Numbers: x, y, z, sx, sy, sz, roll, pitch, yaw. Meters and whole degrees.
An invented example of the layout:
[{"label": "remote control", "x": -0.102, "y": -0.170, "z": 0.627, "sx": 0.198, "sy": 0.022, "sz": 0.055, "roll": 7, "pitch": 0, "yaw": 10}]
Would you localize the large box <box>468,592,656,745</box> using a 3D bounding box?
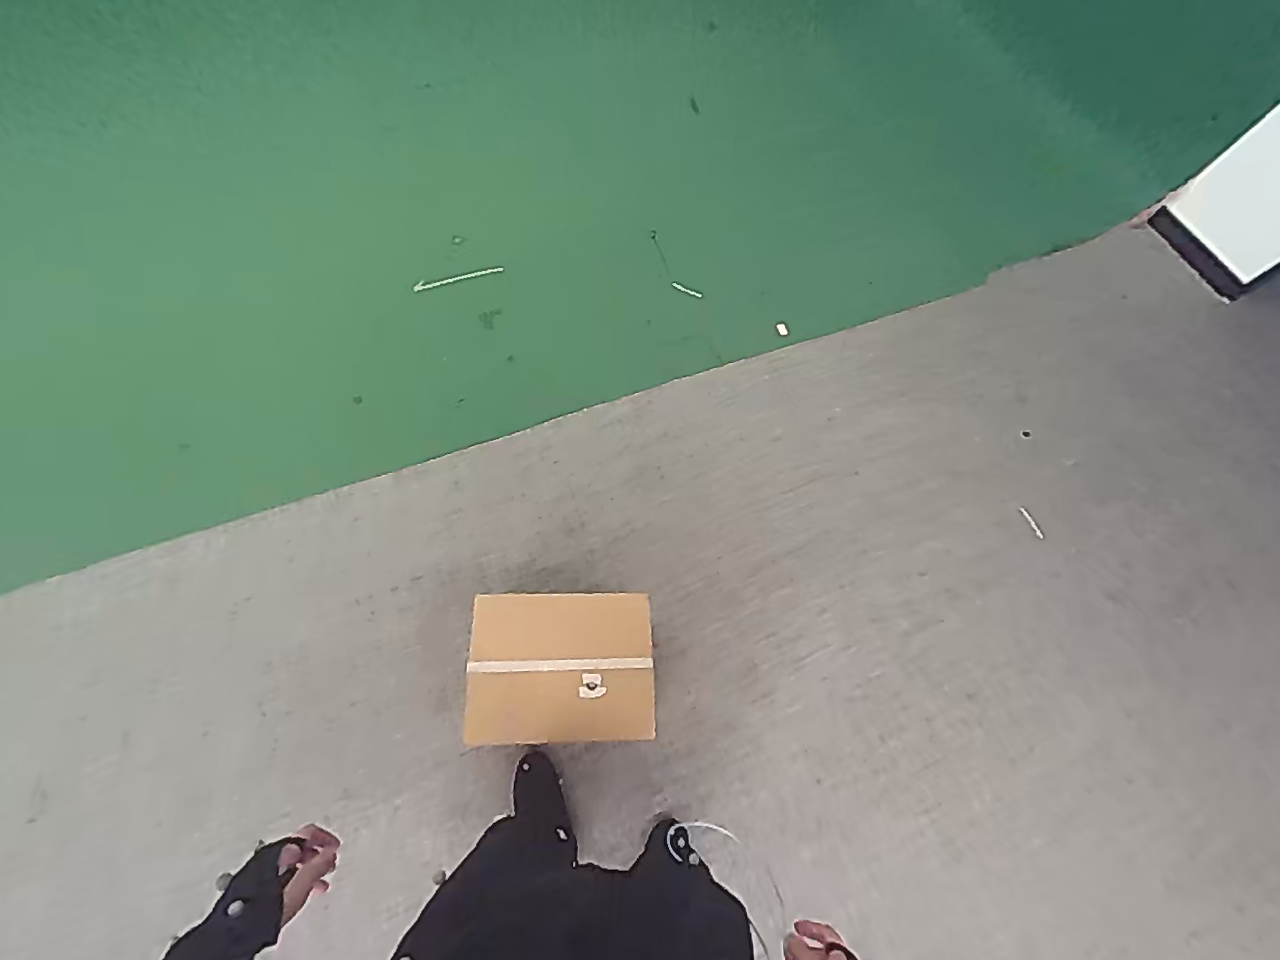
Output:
[{"label": "large box", "x": -0.182, "y": 0.465, "z": 1.330, "sx": 0.408, "sy": 0.320, "sz": 0.320, "roll": 1, "pitch": 67, "yaw": -5}]
